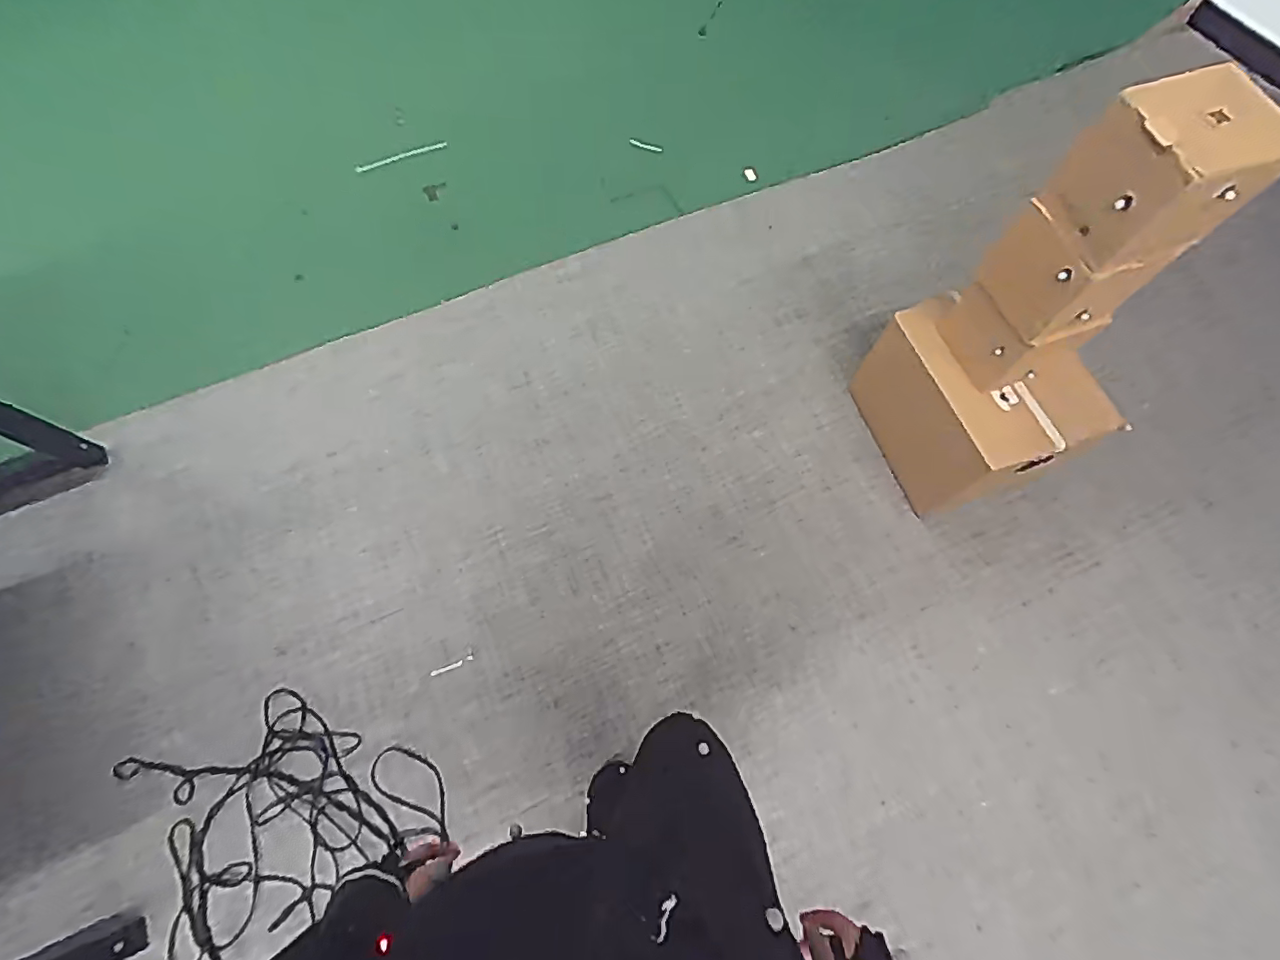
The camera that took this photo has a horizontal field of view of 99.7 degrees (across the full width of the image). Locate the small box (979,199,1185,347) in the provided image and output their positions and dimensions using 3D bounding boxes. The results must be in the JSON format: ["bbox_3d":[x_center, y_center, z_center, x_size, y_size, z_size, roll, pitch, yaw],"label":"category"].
[{"bbox_3d":[0.729,-0.360,0.918,0.168,0.176,0.179,-19,70,-7],"label":"small box"}]

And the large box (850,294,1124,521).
[{"bbox_3d":[0.770,-0.167,1.278,0.320,0.320,0.408,-18,70,-5],"label":"large box"}]

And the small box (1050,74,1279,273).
[{"bbox_3d":[0.737,-0.424,0.769,0.179,0.176,0.168,-16,71,-7],"label":"small box"}]
